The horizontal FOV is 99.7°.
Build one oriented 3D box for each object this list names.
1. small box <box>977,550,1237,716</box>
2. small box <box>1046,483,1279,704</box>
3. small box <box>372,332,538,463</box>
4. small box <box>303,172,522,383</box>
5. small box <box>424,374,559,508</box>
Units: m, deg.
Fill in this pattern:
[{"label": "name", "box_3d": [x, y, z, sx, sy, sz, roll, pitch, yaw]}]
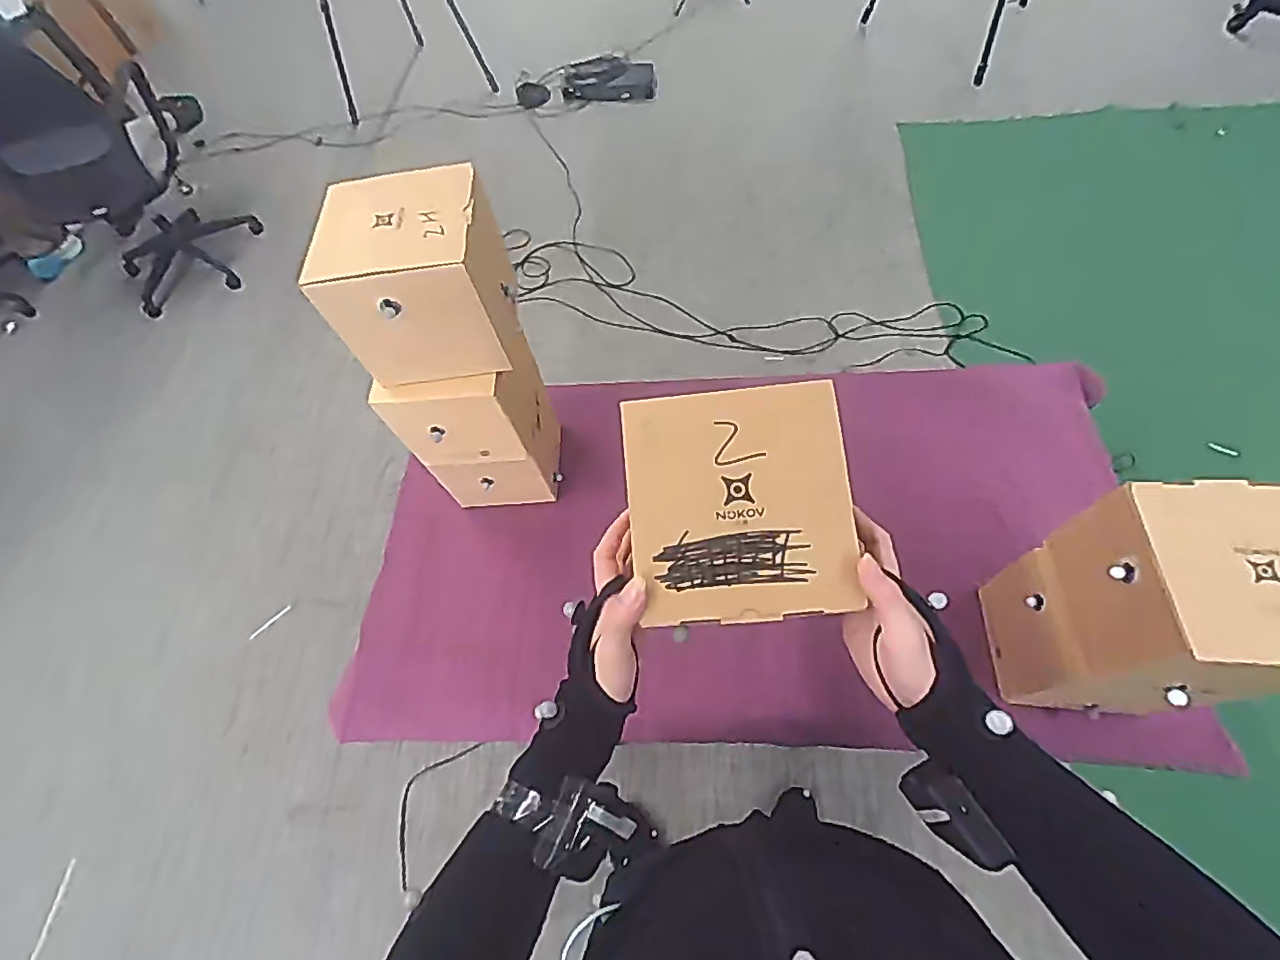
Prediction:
[{"label": "small box", "box_3d": [0.576, 0.203, 0.698, 0.179, 0.176, 0.168, 3, 61, 8]}, {"label": "small box", "box_3d": [0.562, 0.121, 0.557, 0.168, 0.176, 0.179, 1, 62, 9]}, {"label": "small box", "box_3d": [-0.252, -0.134, 0.786, 0.168, 0.176, 0.179, -3, 61, 4]}, {"label": "small box", "box_3d": [-0.255, -0.234, 0.653, 0.179, 0.176, 0.168, -6, 62, 3]}, {"label": "small box", "box_3d": [-0.241, -0.062, 0.931, 0.179, 0.176, 0.168, -4, 62, 4]}]
